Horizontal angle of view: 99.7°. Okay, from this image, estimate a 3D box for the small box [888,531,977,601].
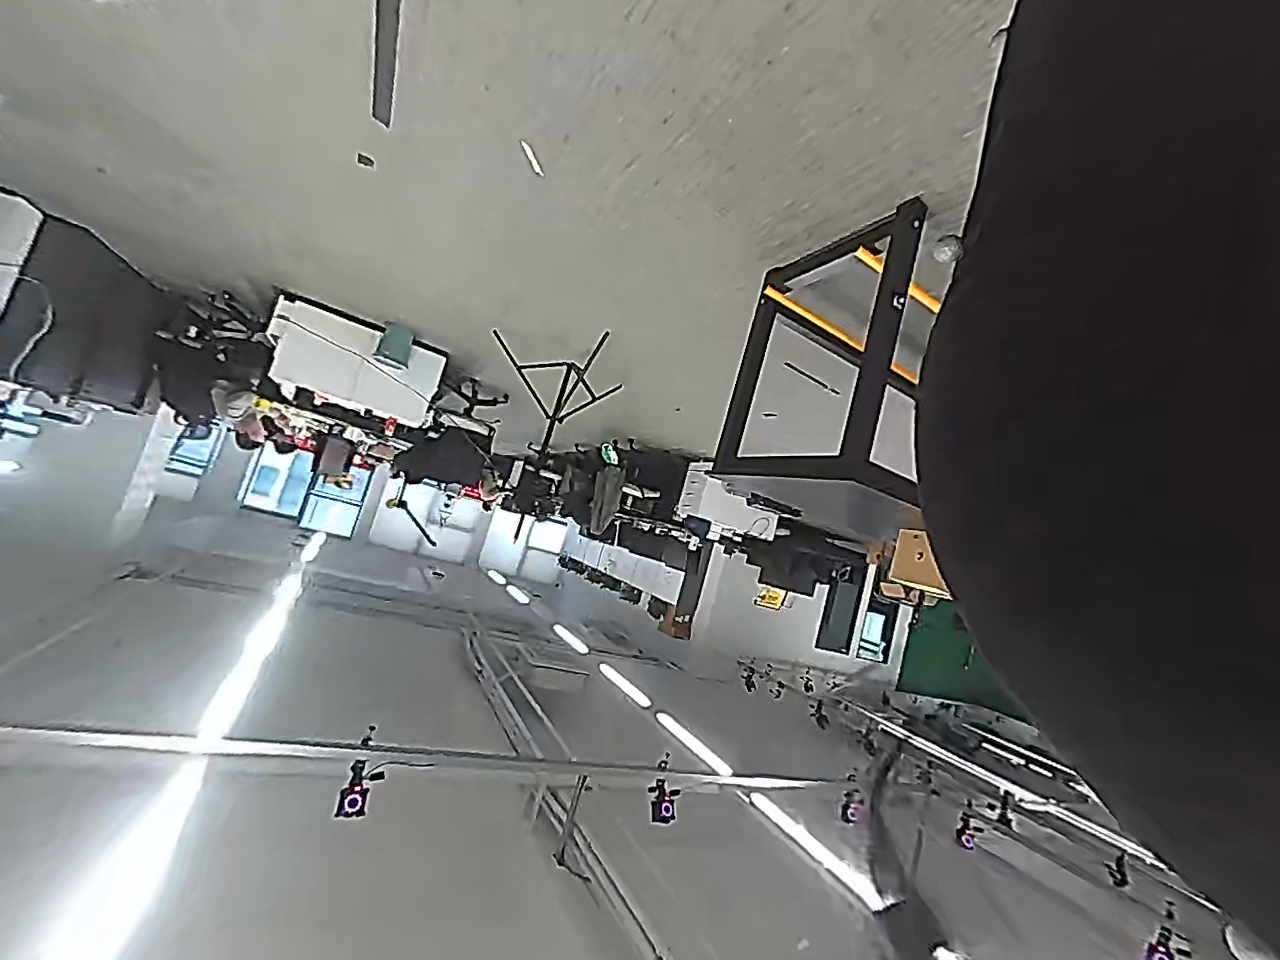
[{"bbox_3d":[0.909,0.263,1.680,0.179,0.176,0.168,19,174,-28],"label":"small box"}]
